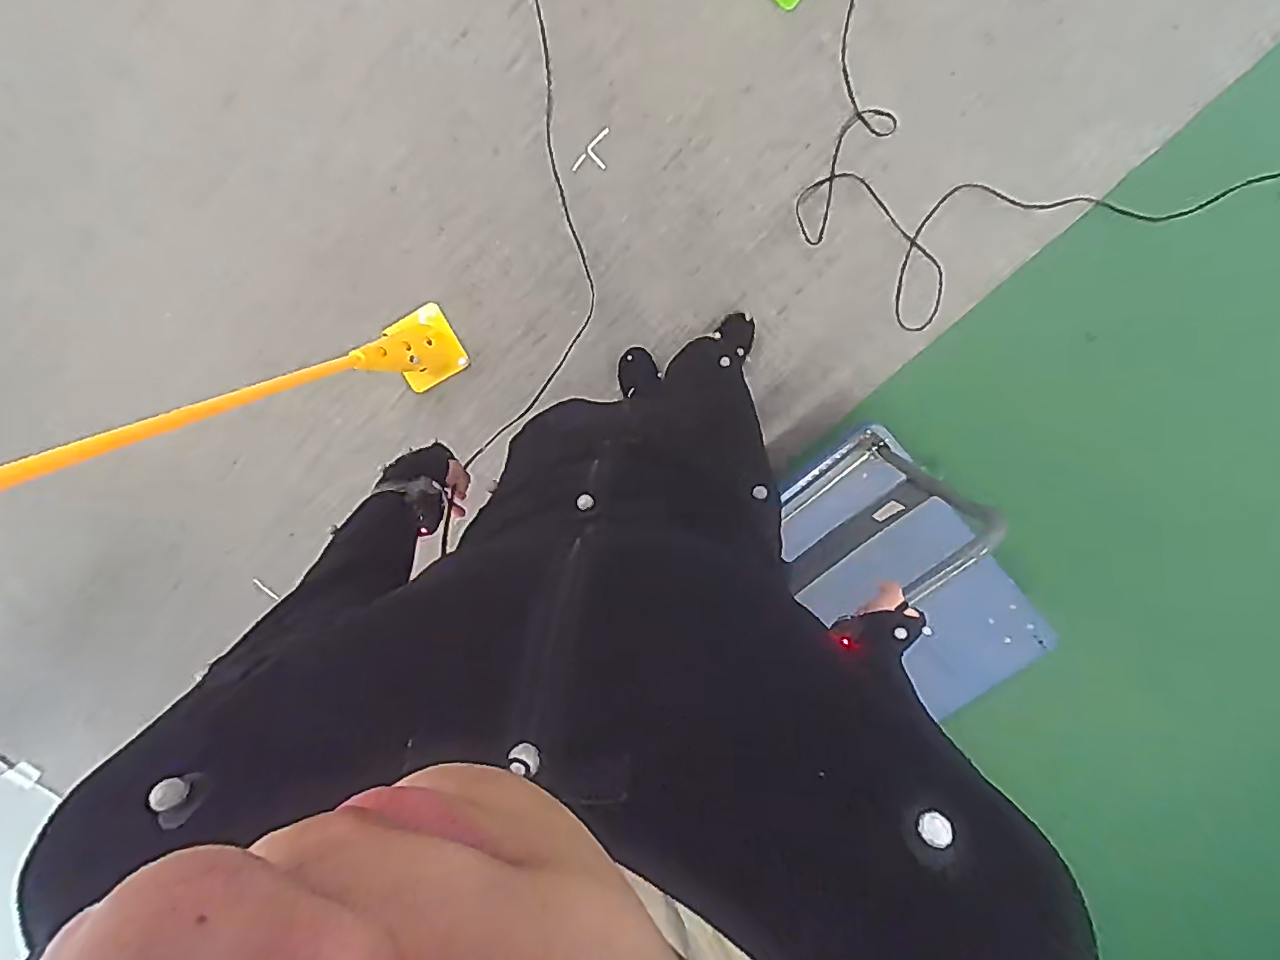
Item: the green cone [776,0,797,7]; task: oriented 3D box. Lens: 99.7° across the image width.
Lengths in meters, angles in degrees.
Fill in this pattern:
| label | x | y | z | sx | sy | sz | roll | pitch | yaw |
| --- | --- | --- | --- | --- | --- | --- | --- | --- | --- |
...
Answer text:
| label | x | y | z | sx | sy | sz | roll | pitch | yaw |
| --- | --- | --- | --- | --- | --- | --- | --- | --- | --- |
| green cone | 0.328 | -1.172 | 1.054 | 0.200 | 0.368 | 0.202 | 41 | 104 | -9 |
